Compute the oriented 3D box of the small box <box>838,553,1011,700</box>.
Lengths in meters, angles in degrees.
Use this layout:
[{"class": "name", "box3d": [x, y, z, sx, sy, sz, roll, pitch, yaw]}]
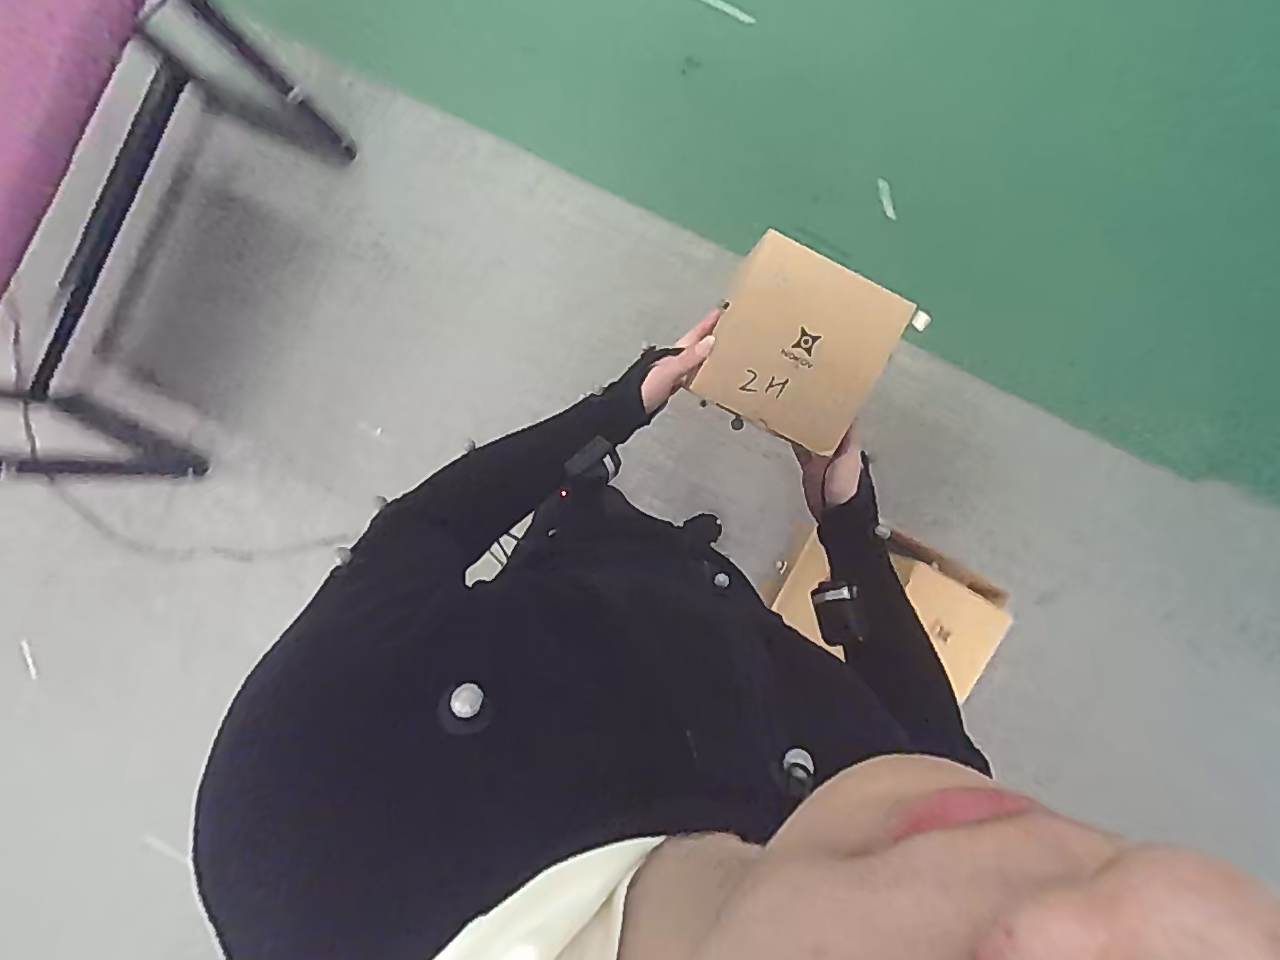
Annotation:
[{"class": "small box", "box3d": [0.485, 0.242, 0.950, 0.179, 0.176, 0.168, 31, 91, 2]}]
